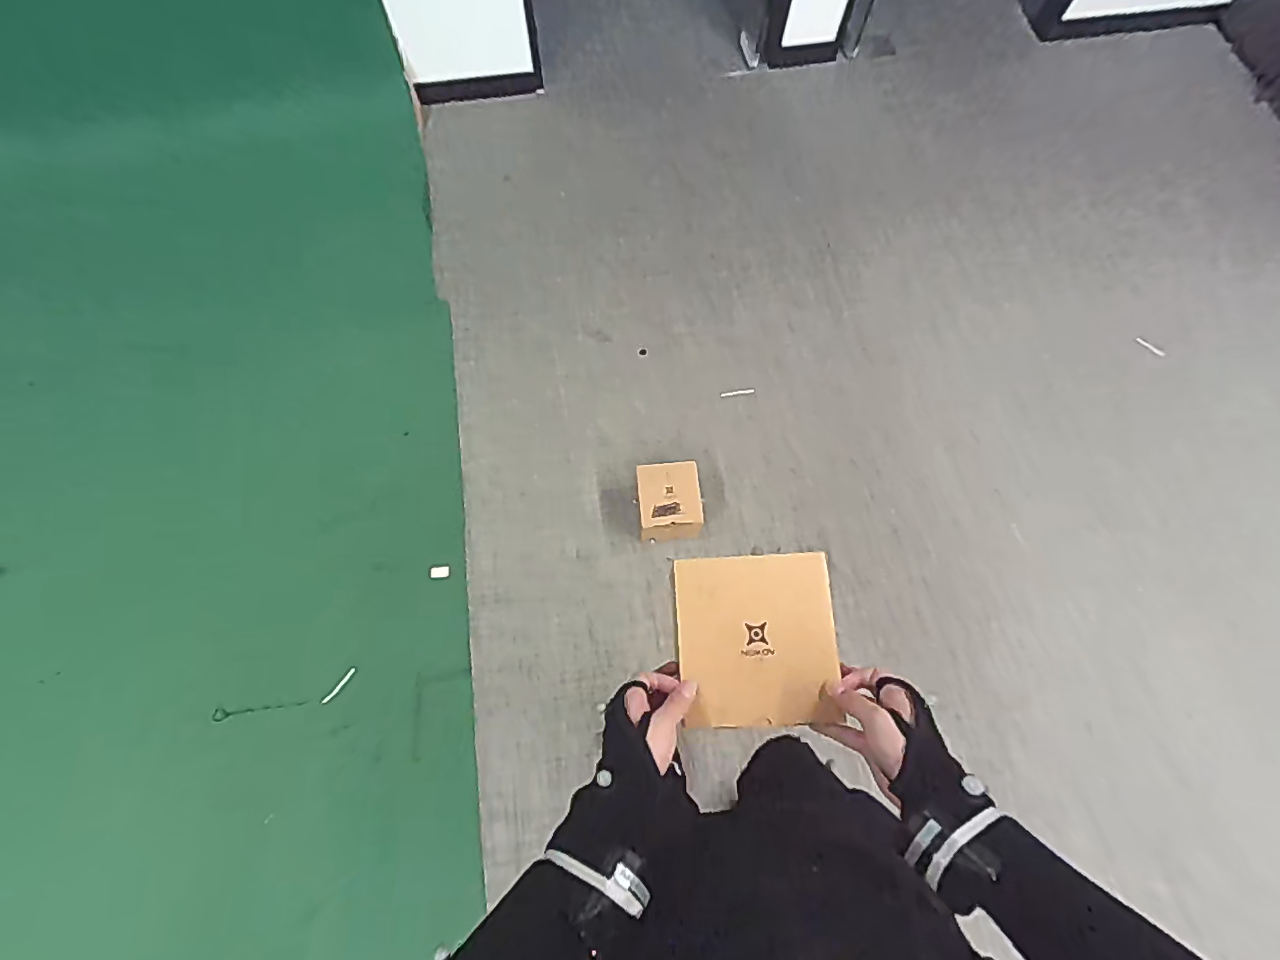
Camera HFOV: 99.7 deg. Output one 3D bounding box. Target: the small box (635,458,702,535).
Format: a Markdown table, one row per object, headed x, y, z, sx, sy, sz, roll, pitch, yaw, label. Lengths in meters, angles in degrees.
| x | y | z | sx | sy | sz | roll | pitch | yaw | label |
| --- | --- | --- | --- | --- | --- | --- | --- | --- | --- |
| 0.075 | 0.051 | 1.508 | 0.168 | 0.176 | 0.179 | -4 | 71 | -3 | small box |
